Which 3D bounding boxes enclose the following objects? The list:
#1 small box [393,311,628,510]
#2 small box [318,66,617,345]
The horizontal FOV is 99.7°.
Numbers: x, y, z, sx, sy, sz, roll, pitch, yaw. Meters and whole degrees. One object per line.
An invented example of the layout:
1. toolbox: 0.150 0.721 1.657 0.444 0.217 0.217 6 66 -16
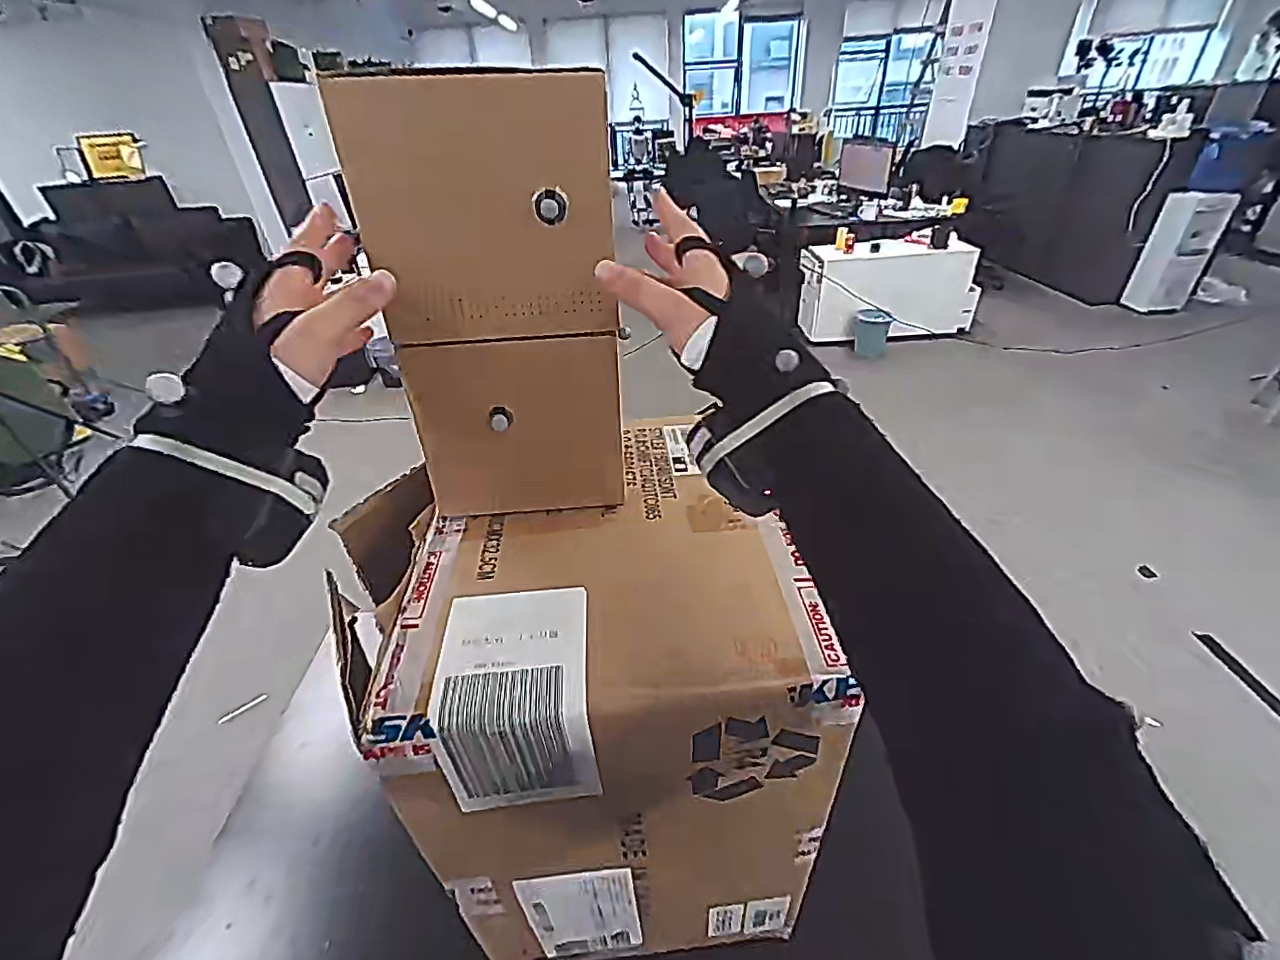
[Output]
1. small box: -0.108 -0.083 0.529 0.179 0.176 0.168 -5 33 -3
2. small box: -0.112 -0.218 0.436 0.179 0.176 0.168 -6 32 -5
